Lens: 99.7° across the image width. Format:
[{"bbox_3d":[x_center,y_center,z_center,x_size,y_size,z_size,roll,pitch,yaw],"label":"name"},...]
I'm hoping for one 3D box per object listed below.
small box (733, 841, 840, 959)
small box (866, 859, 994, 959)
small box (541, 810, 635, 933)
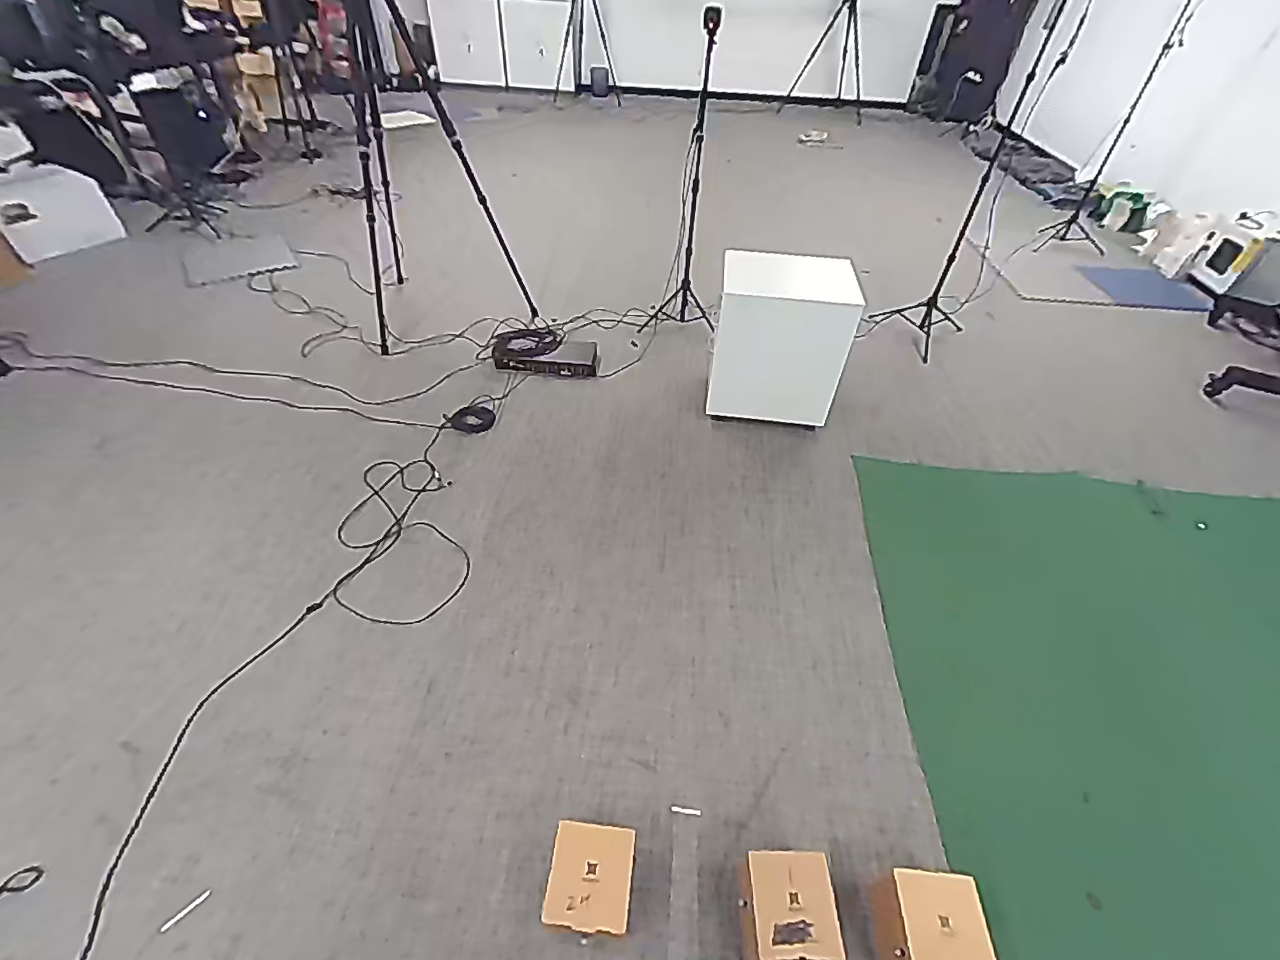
[{"bbox_3d":[0.295,0.877,1.126,0.168,0.176,0.179,3,44,-2],"label":"small box"},{"bbox_3d":[0.586,0.910,1.114,0.168,0.176,0.179,5,45,2],"label":"small box"},{"bbox_3d":[-0.104,0.830,1.144,0.168,0.176,0.179,6,46,3],"label":"small box"}]
